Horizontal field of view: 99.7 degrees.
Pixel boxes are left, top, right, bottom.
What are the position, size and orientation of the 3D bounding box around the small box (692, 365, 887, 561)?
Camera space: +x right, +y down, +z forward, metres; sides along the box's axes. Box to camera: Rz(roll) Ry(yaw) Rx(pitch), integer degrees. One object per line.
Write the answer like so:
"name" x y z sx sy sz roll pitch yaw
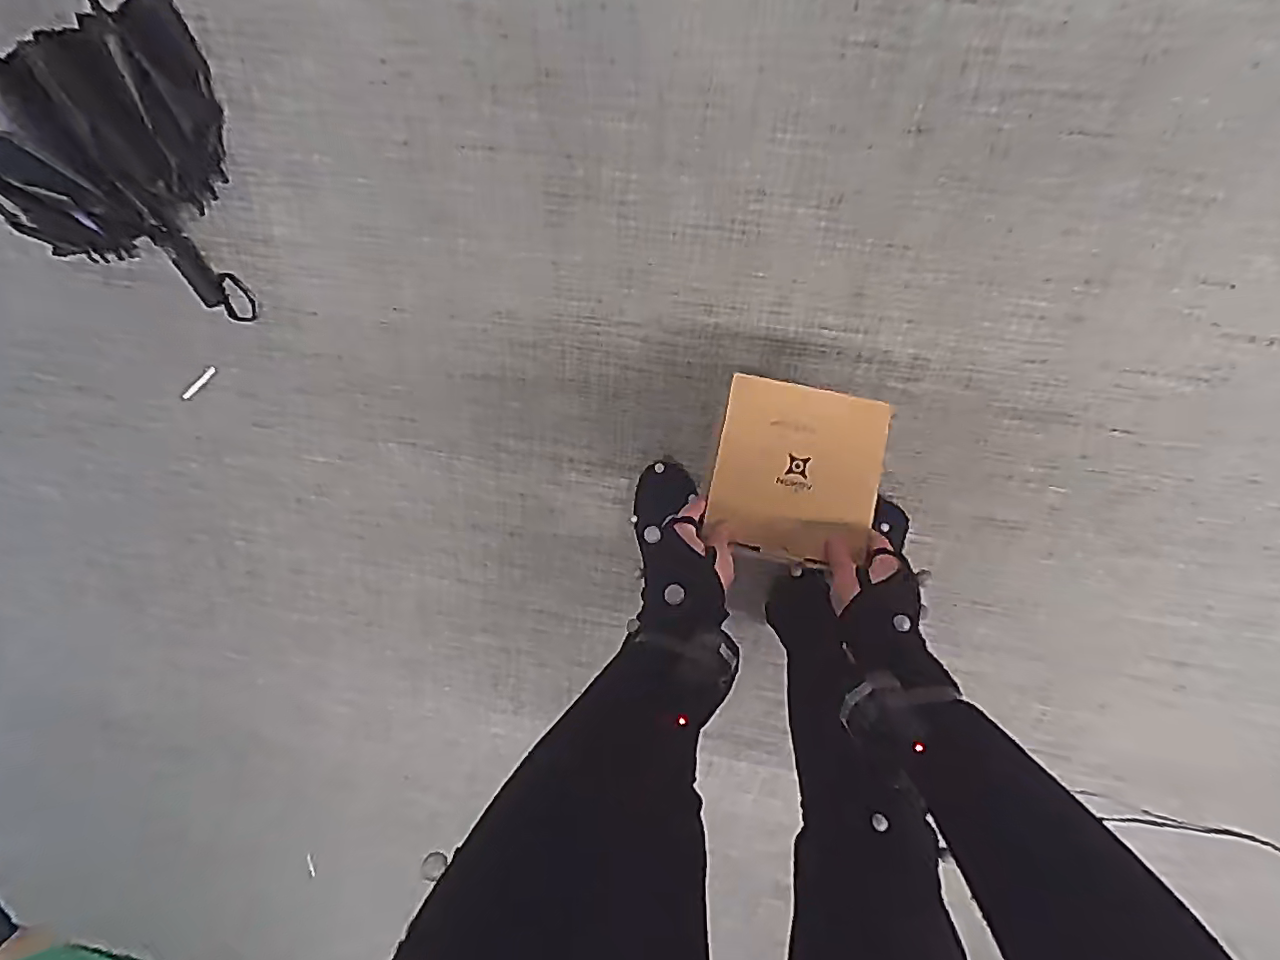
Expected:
"small box" 0.158 -0.012 0.627 0.168 0.176 0.179 11 85 1
